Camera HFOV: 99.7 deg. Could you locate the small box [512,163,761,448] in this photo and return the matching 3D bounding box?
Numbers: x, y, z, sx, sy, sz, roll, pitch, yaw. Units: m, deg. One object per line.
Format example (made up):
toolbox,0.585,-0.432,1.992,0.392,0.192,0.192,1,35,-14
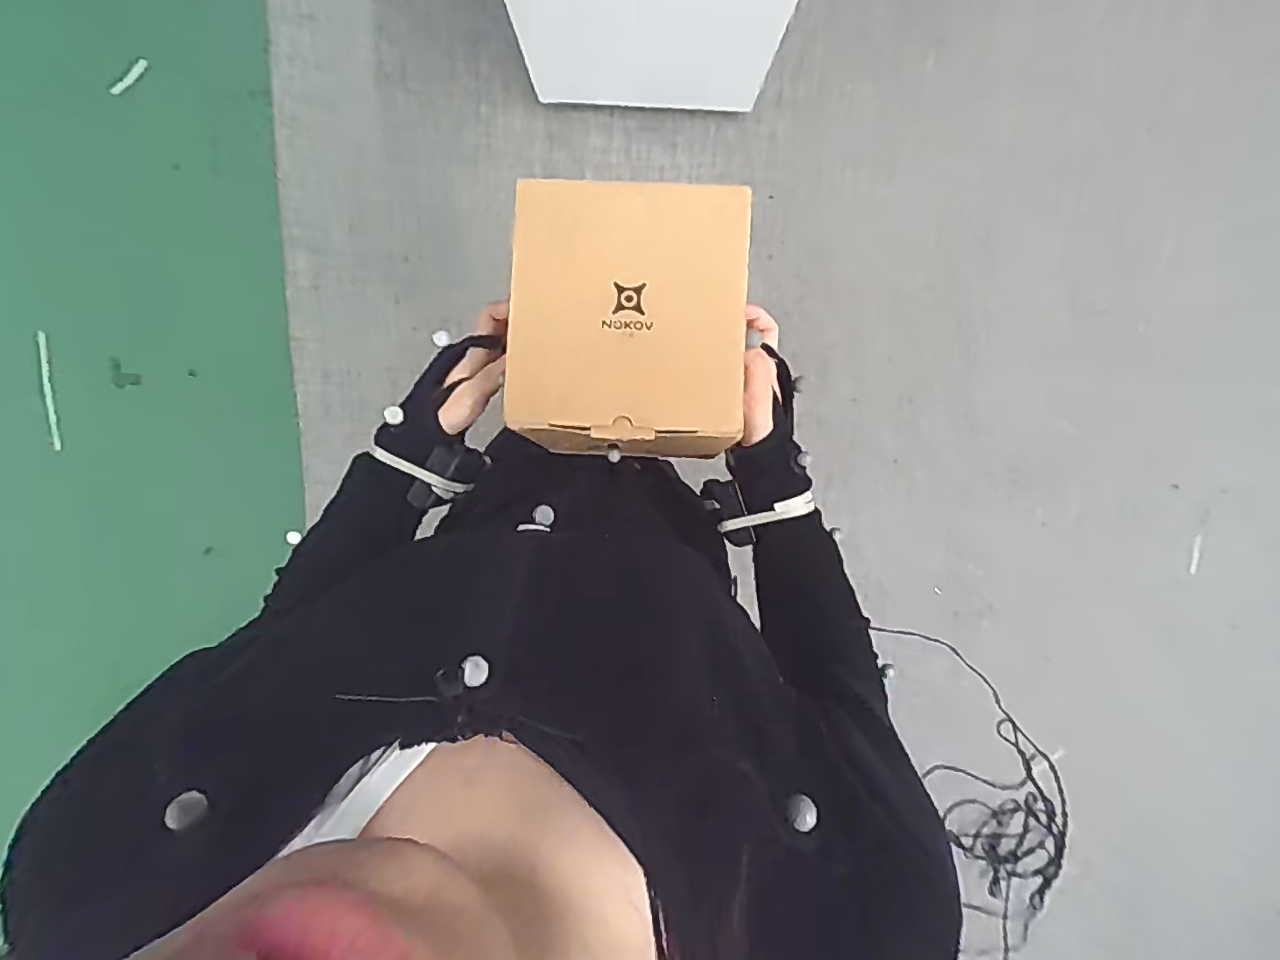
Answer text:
small box,0.000,-0.125,0.447,0.168,0.176,0.179,2,88,2
